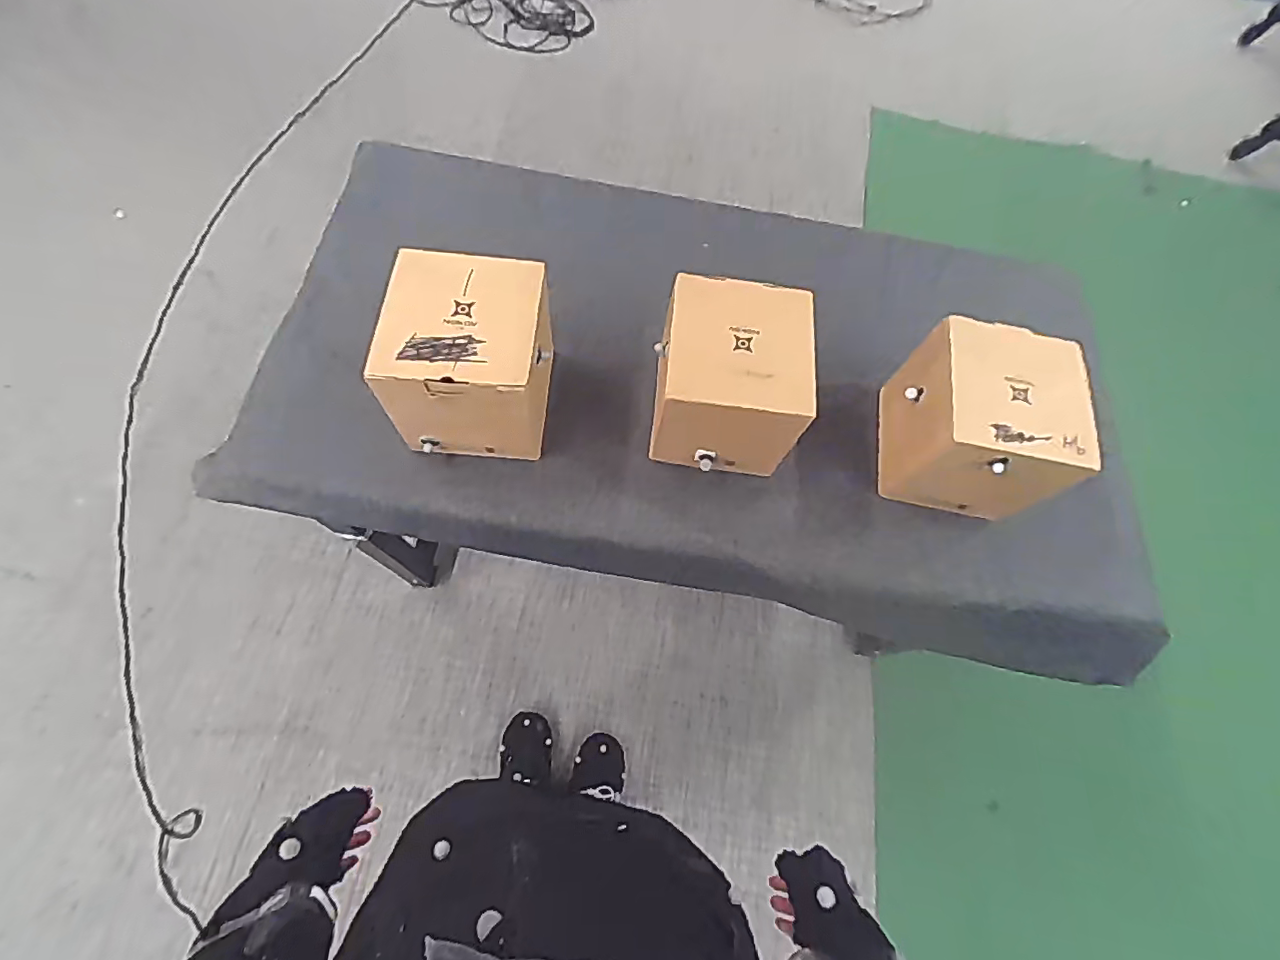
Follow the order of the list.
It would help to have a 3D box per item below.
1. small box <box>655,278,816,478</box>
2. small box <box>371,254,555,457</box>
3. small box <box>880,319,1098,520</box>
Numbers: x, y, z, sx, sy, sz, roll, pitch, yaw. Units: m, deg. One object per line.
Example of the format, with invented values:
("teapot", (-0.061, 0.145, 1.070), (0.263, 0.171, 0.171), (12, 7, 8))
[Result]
("small box", (0.112, -0.121, 0.686), (0.168, 0.176, 0.179), (6, 68, -1))
("small box", (-0.197, -0.142, 0.661), (0.168, 0.176, 0.179), (4, 65, -4))
("small box", (0.423, -0.069, 0.690), (0.168, 0.176, 0.179), (11, 66, 1))
